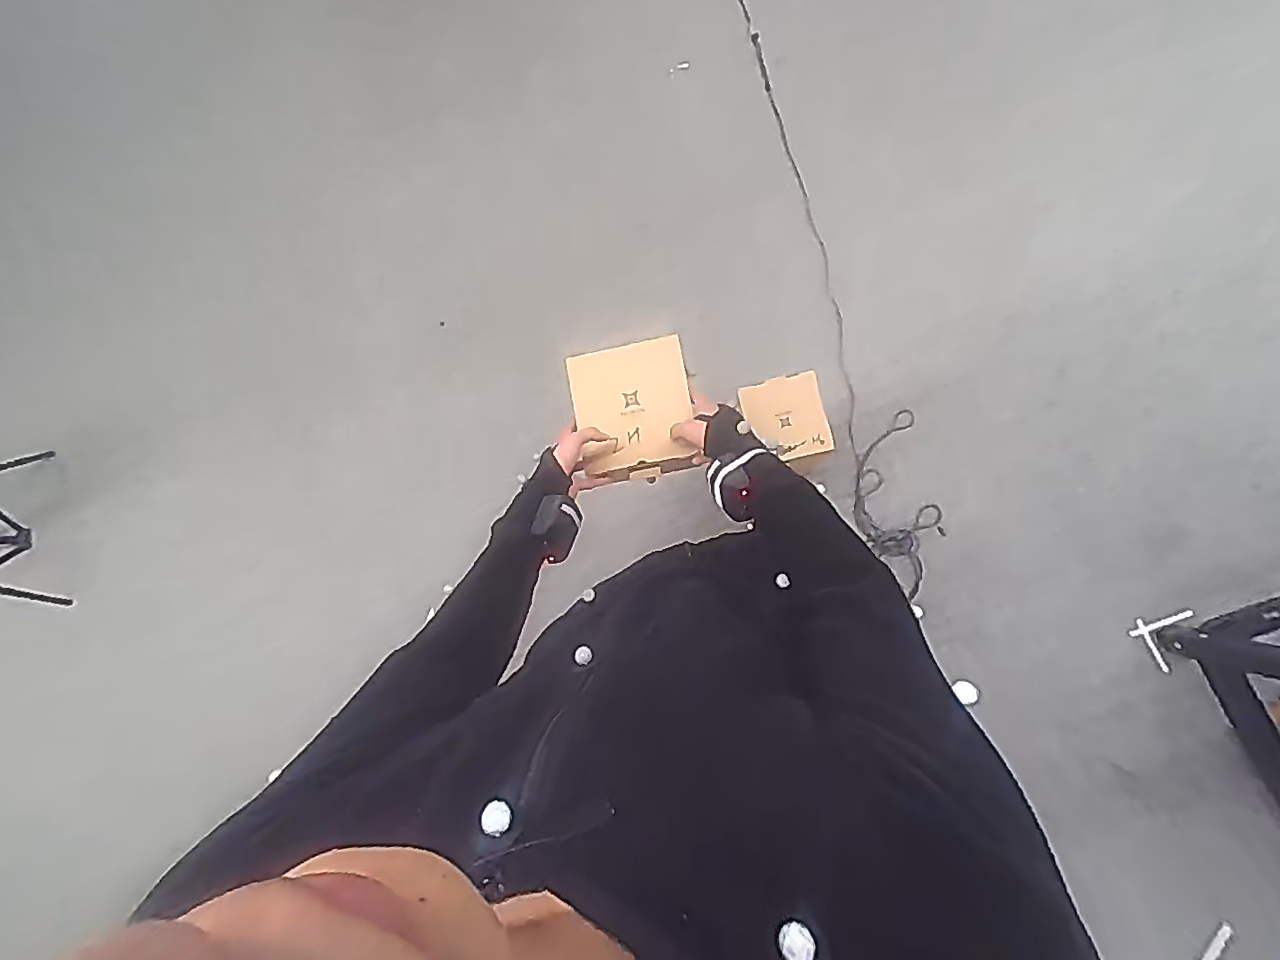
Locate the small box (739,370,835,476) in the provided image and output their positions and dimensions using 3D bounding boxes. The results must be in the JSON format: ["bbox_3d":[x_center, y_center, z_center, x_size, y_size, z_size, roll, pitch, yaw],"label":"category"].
[{"bbox_3d":[0.319,-0.119,1.203,0.168,0.176,0.179,-13,80,10],"label":"small box"}]

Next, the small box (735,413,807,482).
[{"bbox_3d":[0.353,-0.103,1.363,0.179,0.176,0.168,-20,80,9],"label":"small box"}]

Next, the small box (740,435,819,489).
[{"bbox_3d":[0.384,-0.086,1.521,0.168,0.176,0.179,-22,80,8],"label":"small box"}]

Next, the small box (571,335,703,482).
[{"bbox_3d":[0.002,-0.099,0.835,0.168,0.176,0.179,-11,85,7],"label":"small box"}]
